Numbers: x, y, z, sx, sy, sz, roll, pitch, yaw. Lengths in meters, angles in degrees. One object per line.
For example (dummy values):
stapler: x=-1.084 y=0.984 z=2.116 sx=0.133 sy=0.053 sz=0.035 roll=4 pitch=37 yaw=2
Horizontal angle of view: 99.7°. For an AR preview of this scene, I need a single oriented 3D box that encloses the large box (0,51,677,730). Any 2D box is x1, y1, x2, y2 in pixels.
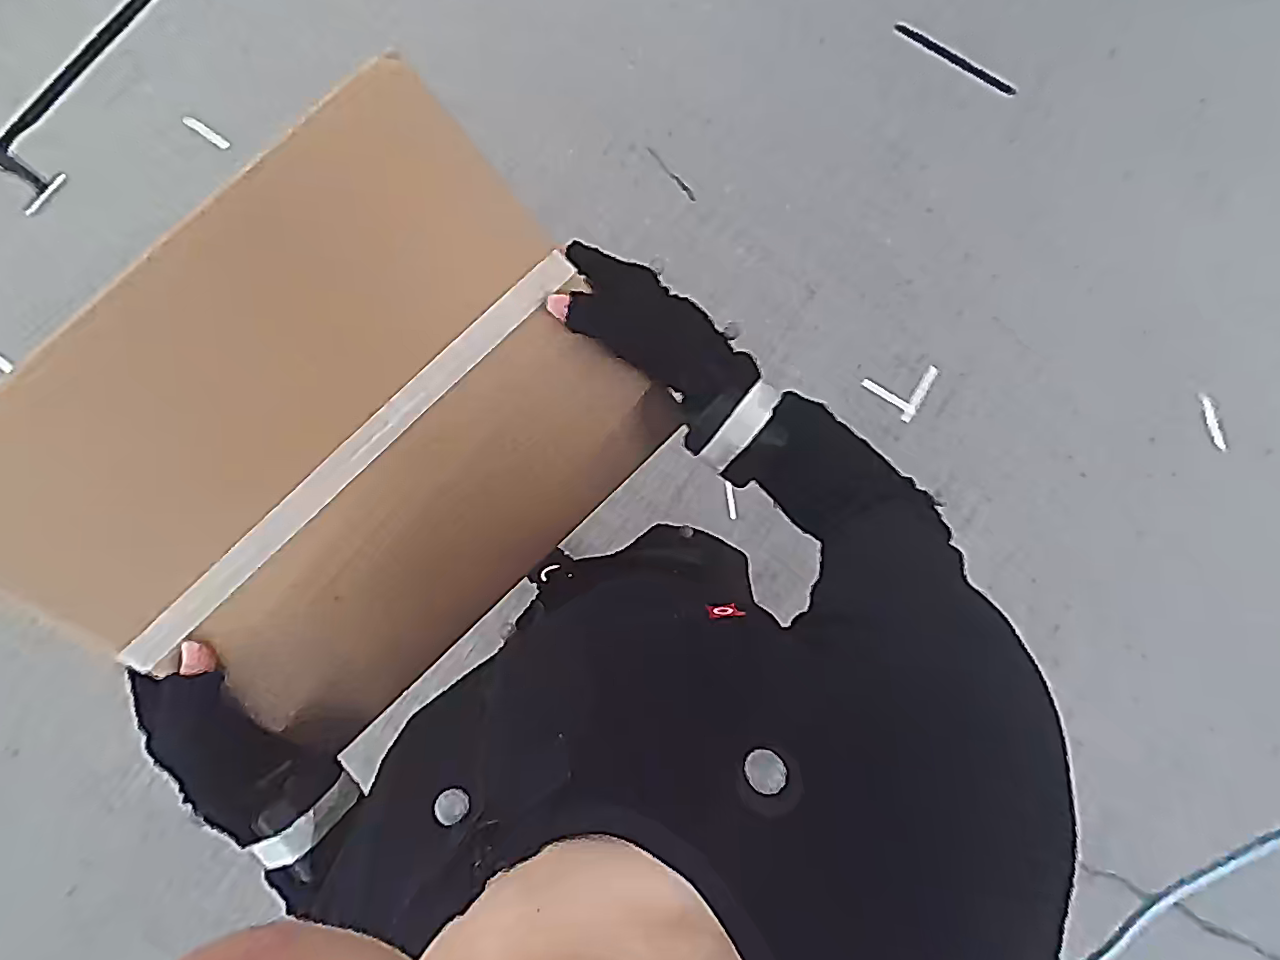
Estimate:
large box: x=-0.248 y=-0.069 z=0.523 sx=0.408 sy=0.320 sz=0.320 roll=-44 pitch=117 yaw=-3
